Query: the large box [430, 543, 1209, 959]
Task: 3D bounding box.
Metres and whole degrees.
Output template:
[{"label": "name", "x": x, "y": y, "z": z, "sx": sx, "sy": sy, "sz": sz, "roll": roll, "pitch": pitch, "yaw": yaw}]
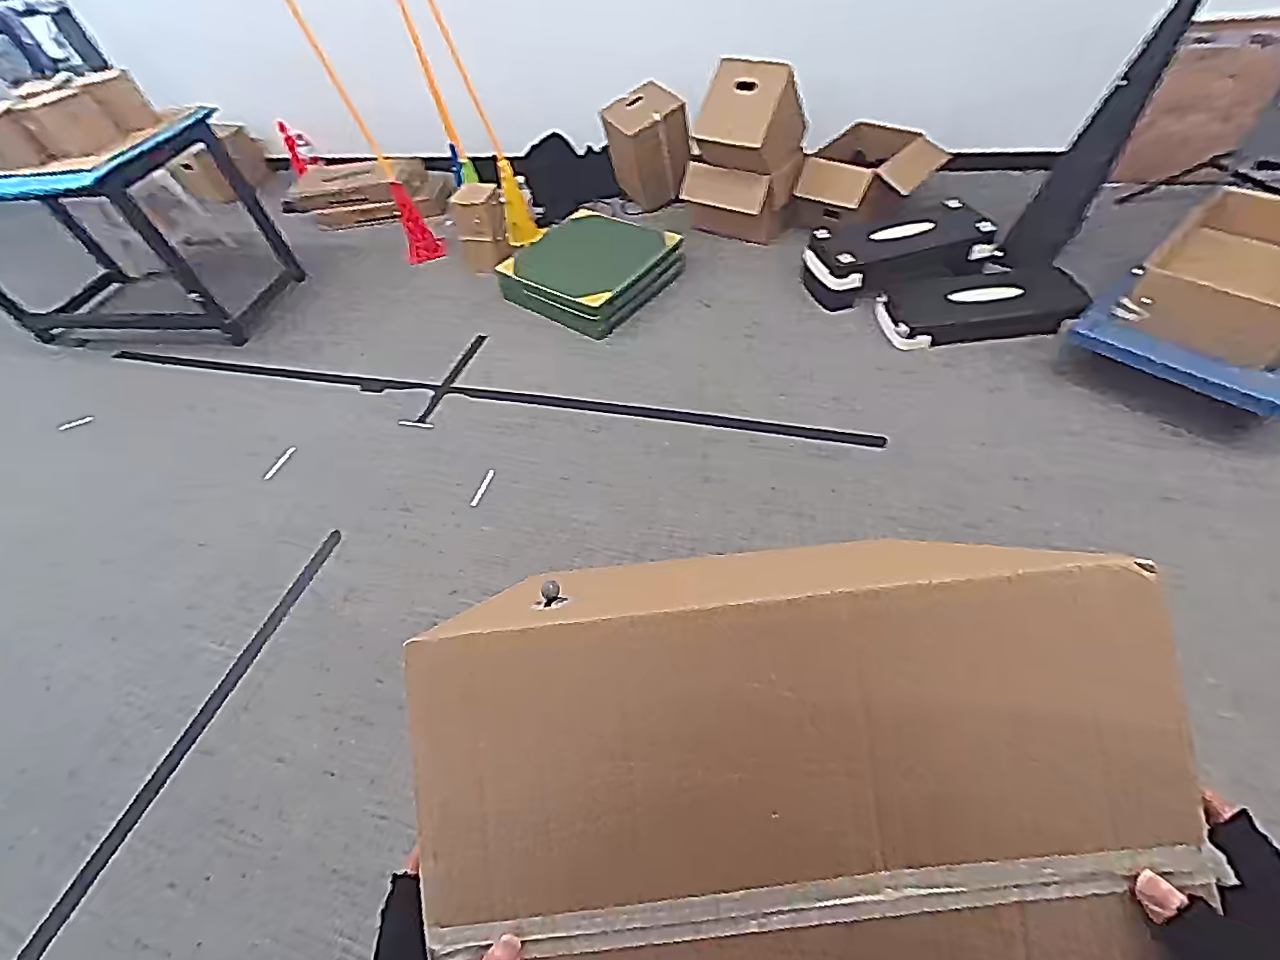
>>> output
[{"label": "large box", "x": 0.096, "y": 0.230, "z": 0.440, "sx": 0.408, "sy": 0.320, "sz": 0.320, "roll": -7, "pitch": 86, "yaw": 1}]
